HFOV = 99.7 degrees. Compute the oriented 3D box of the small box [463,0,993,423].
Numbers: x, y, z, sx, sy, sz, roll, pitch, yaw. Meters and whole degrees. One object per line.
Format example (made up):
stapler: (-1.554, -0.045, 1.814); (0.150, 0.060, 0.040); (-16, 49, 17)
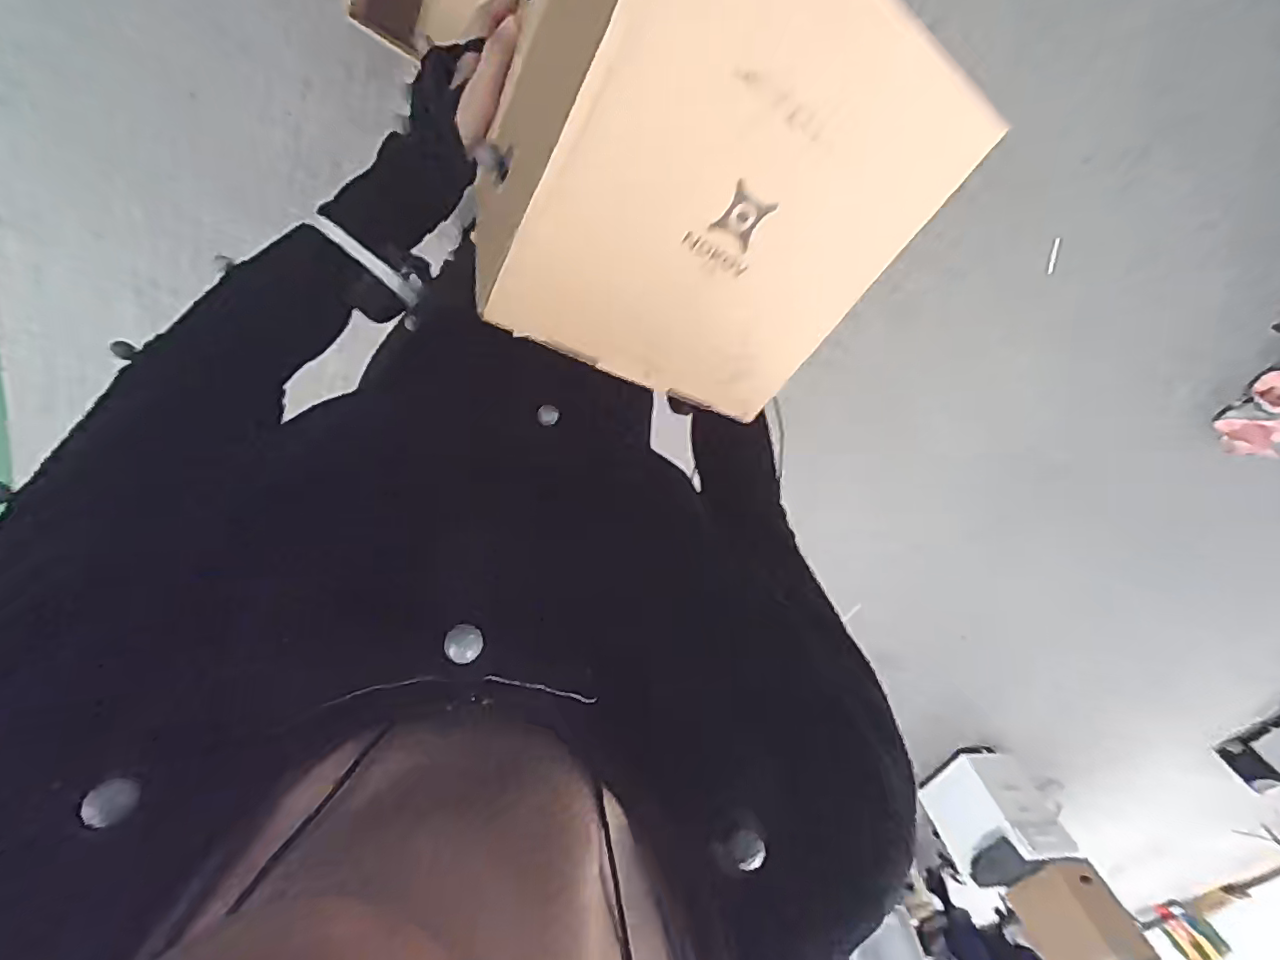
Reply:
small box: (0.021, -0.166, 0.282); (0.168, 0.176, 0.179); (16, 129, -31)
